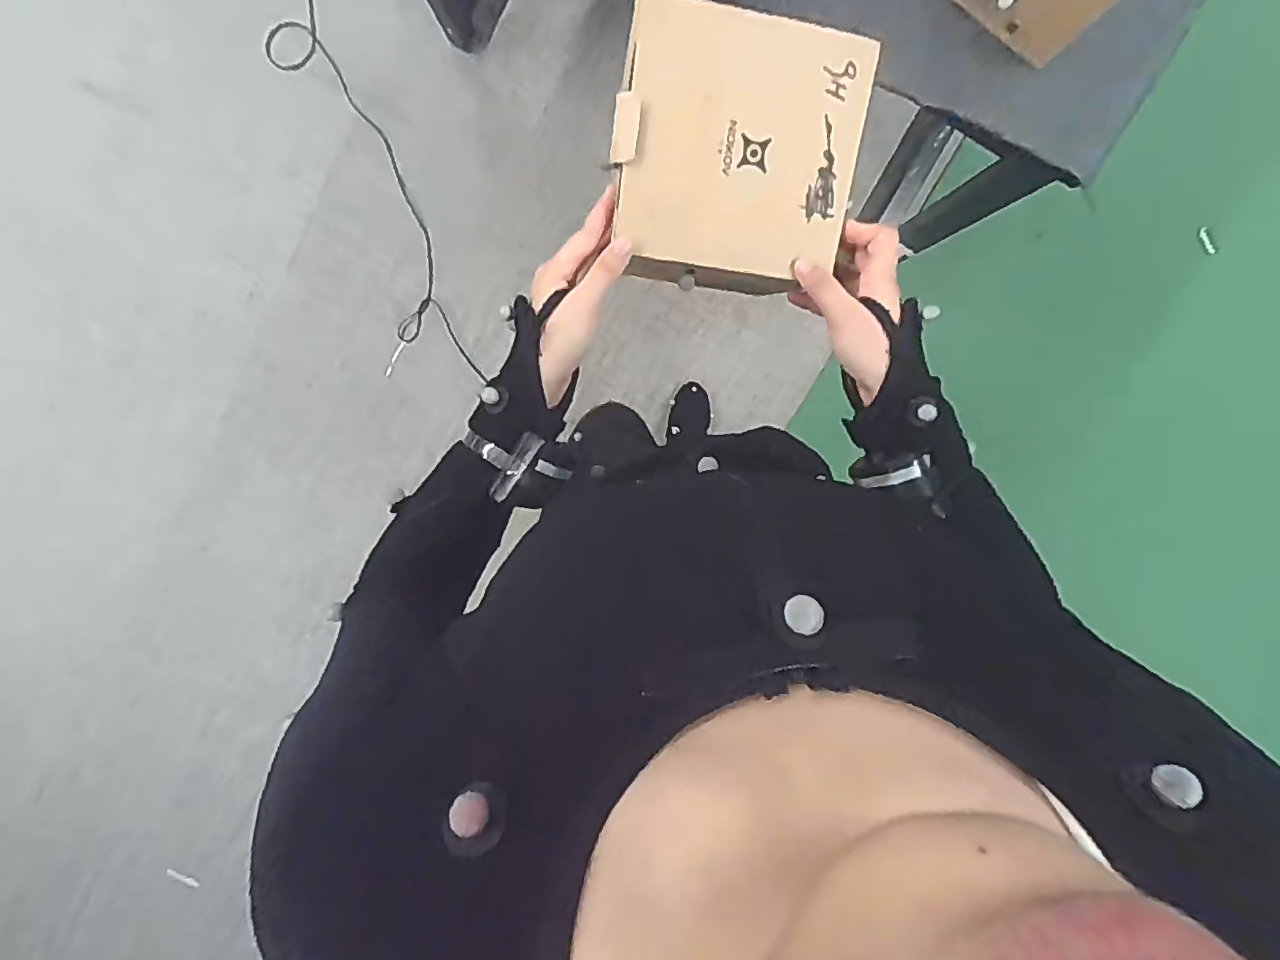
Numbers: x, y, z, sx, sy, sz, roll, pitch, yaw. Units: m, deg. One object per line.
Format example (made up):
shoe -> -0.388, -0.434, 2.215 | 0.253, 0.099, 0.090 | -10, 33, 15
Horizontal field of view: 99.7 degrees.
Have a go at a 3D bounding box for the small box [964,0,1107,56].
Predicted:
small box -> 0.462, -0.607, 0.554 | 0.168, 0.176, 0.179 | 35, 95, -4

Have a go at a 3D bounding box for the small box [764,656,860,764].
small box -> 0.459, 0.622, 1.480 | 0.168, 0.176, 0.179 | 33, 97, -4
